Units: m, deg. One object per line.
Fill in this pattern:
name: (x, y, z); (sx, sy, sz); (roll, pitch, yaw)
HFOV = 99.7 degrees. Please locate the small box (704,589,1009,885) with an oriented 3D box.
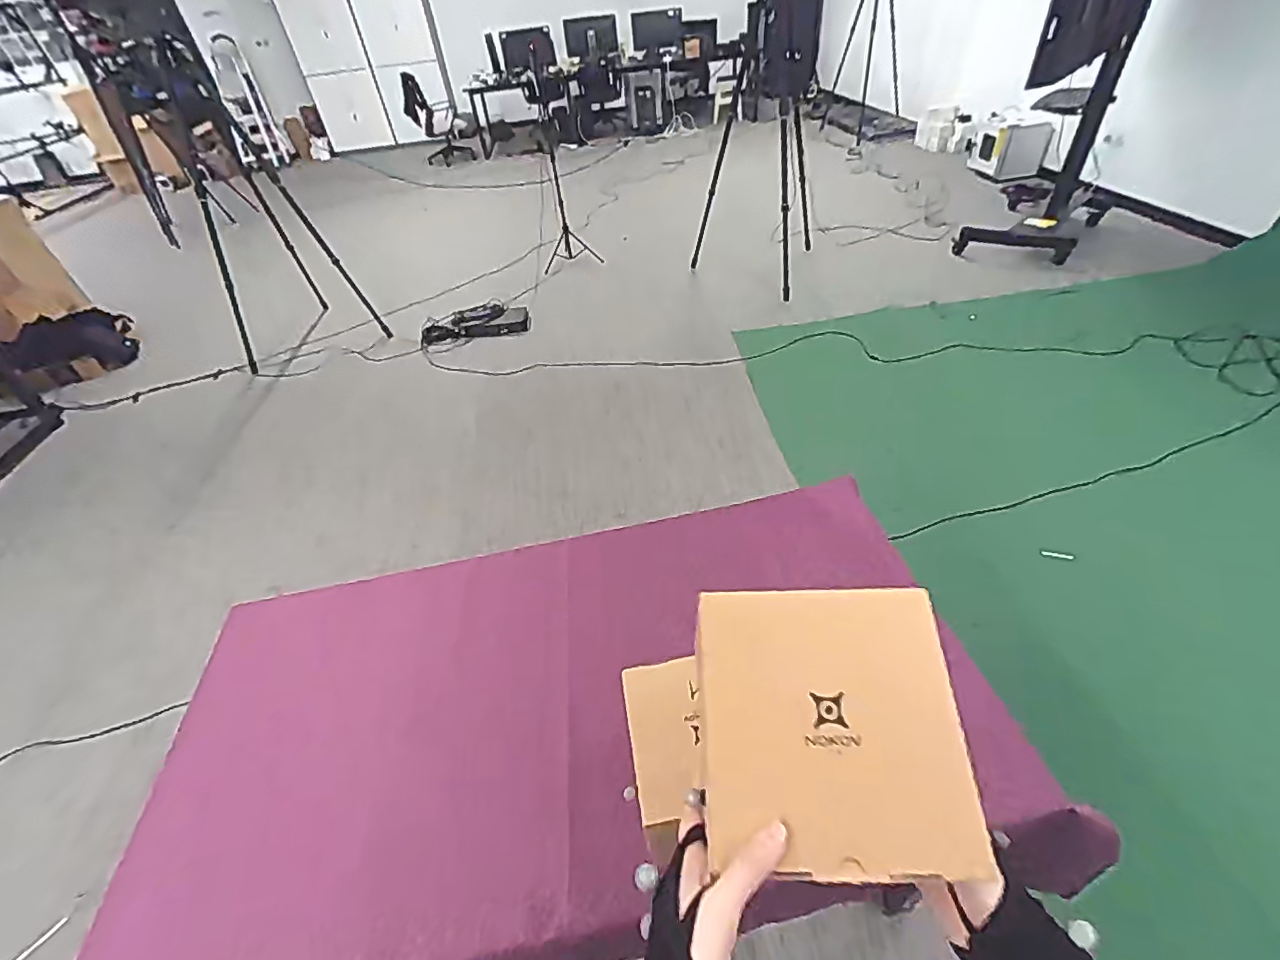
small box: (0.138, 0.195, 0.425); (0.168, 0.176, 0.179); (-2, 63, 4)

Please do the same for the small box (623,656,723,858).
small box: (0.079, 0.339, 0.665); (0.168, 0.176, 0.179); (-10, 43, -3)
